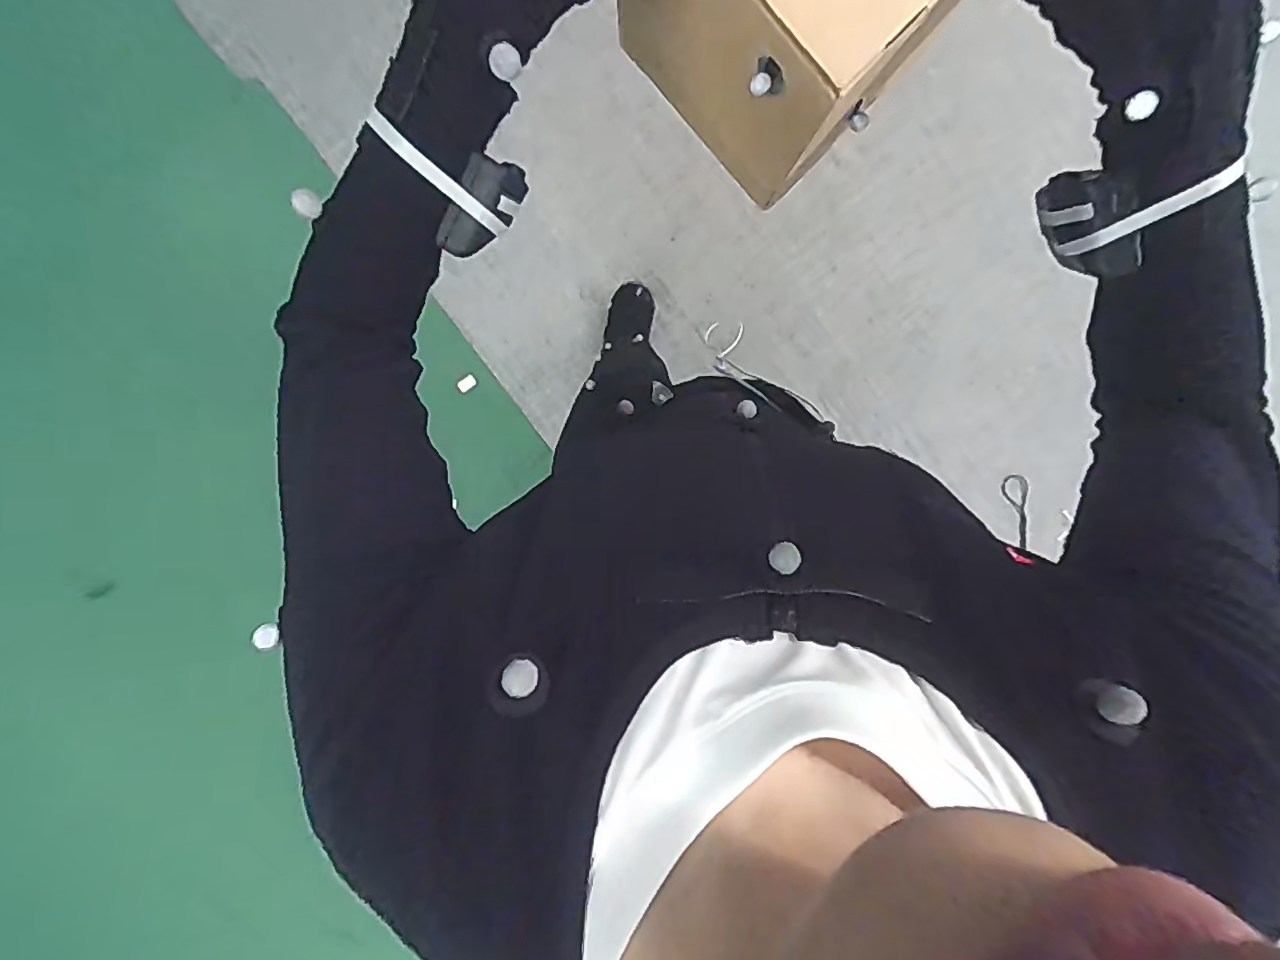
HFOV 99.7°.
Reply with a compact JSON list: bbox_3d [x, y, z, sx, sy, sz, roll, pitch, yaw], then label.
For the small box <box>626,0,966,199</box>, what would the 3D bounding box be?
[{"bbox_3d":[0.101,-0.330,0.355,0.168,0.176,0.179,-43,97,4],"label":"small box"}]
